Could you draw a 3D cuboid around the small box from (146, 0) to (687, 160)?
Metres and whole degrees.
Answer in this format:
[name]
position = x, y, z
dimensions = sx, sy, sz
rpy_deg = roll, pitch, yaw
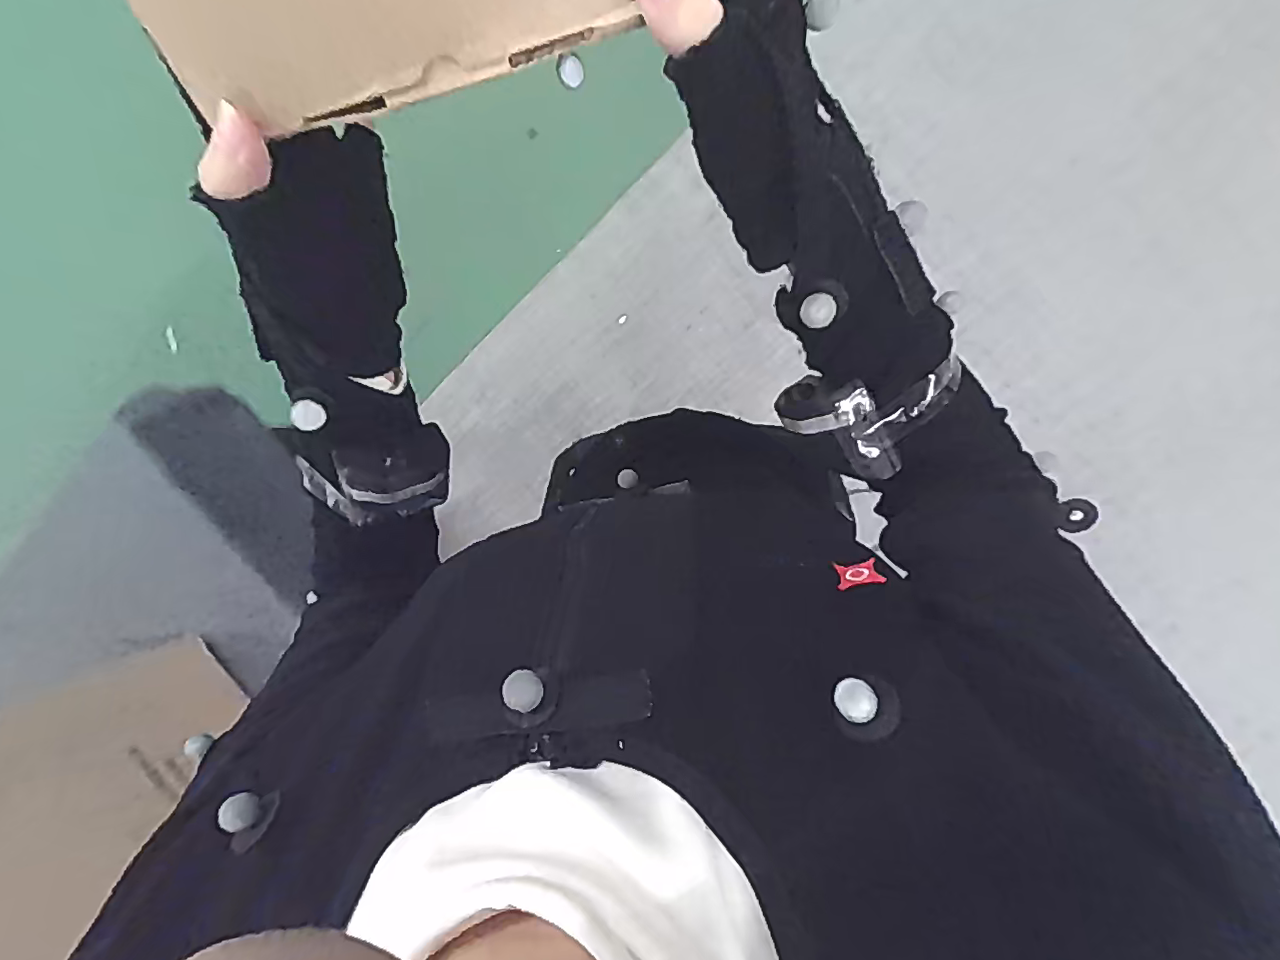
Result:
[small box]
position = -0.084, -0.246, 0.182
dimensions = 0.168, 0.176, 0.179
rpy_deg = -13, 131, 11
